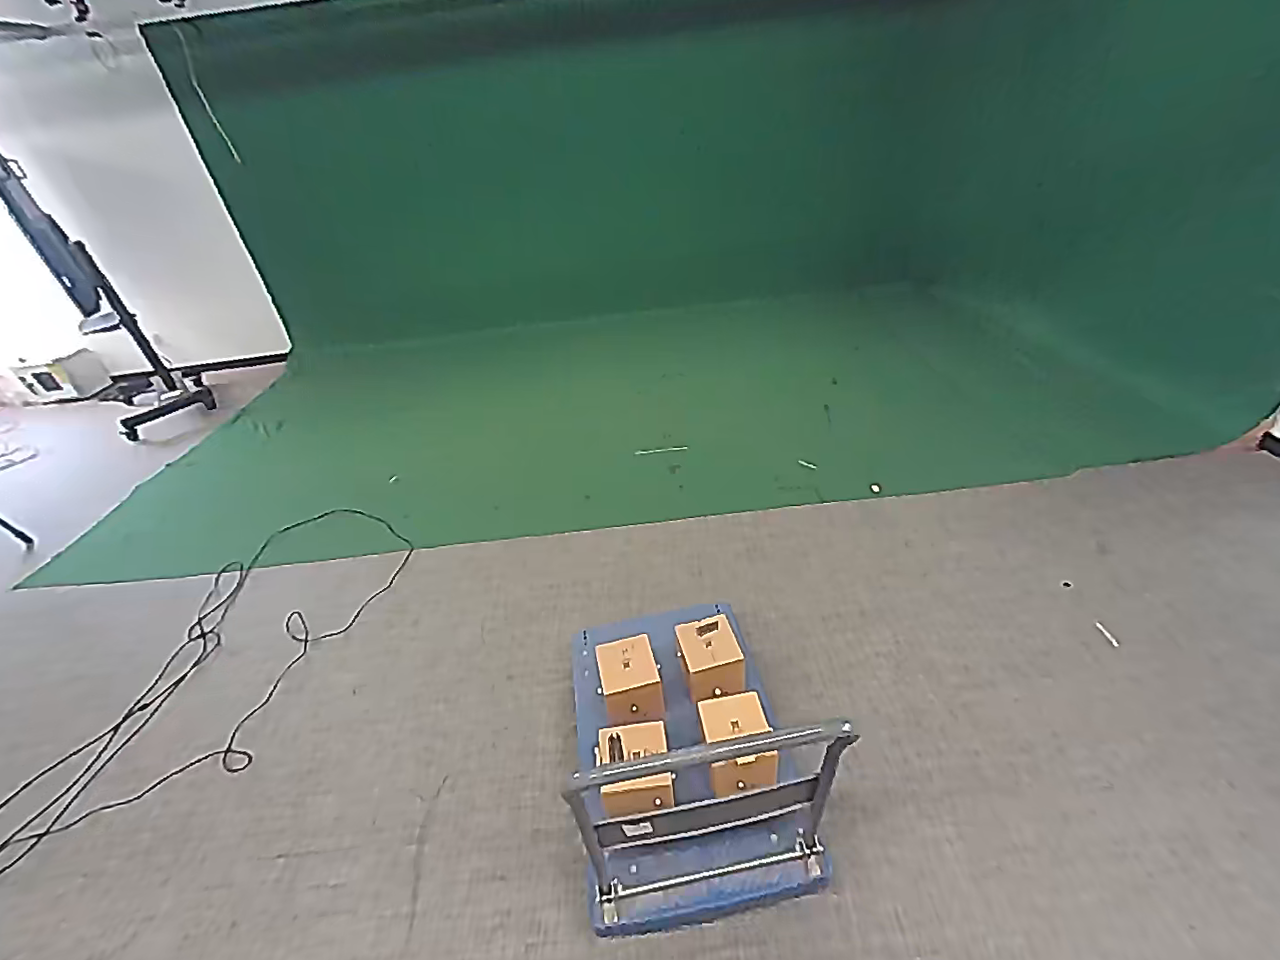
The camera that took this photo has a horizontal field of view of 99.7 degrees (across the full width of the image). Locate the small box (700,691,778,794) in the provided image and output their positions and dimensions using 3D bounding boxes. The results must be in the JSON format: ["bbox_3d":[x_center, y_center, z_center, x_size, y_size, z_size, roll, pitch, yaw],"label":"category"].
[{"bbox_3d":[0.257,0.699,1.439,0.168,0.176,0.179,-9,36,-3],"label":"small box"}]

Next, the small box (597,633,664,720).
[{"bbox_3d":[-0.028,0.597,1.628,0.168,0.176,0.179,-11,36,-7],"label":"small box"}]

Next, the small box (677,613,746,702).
[{"bbox_3d":[0.217,0.545,1.657,0.168,0.176,0.179,-12,37,-6],"label":"small box"}]
